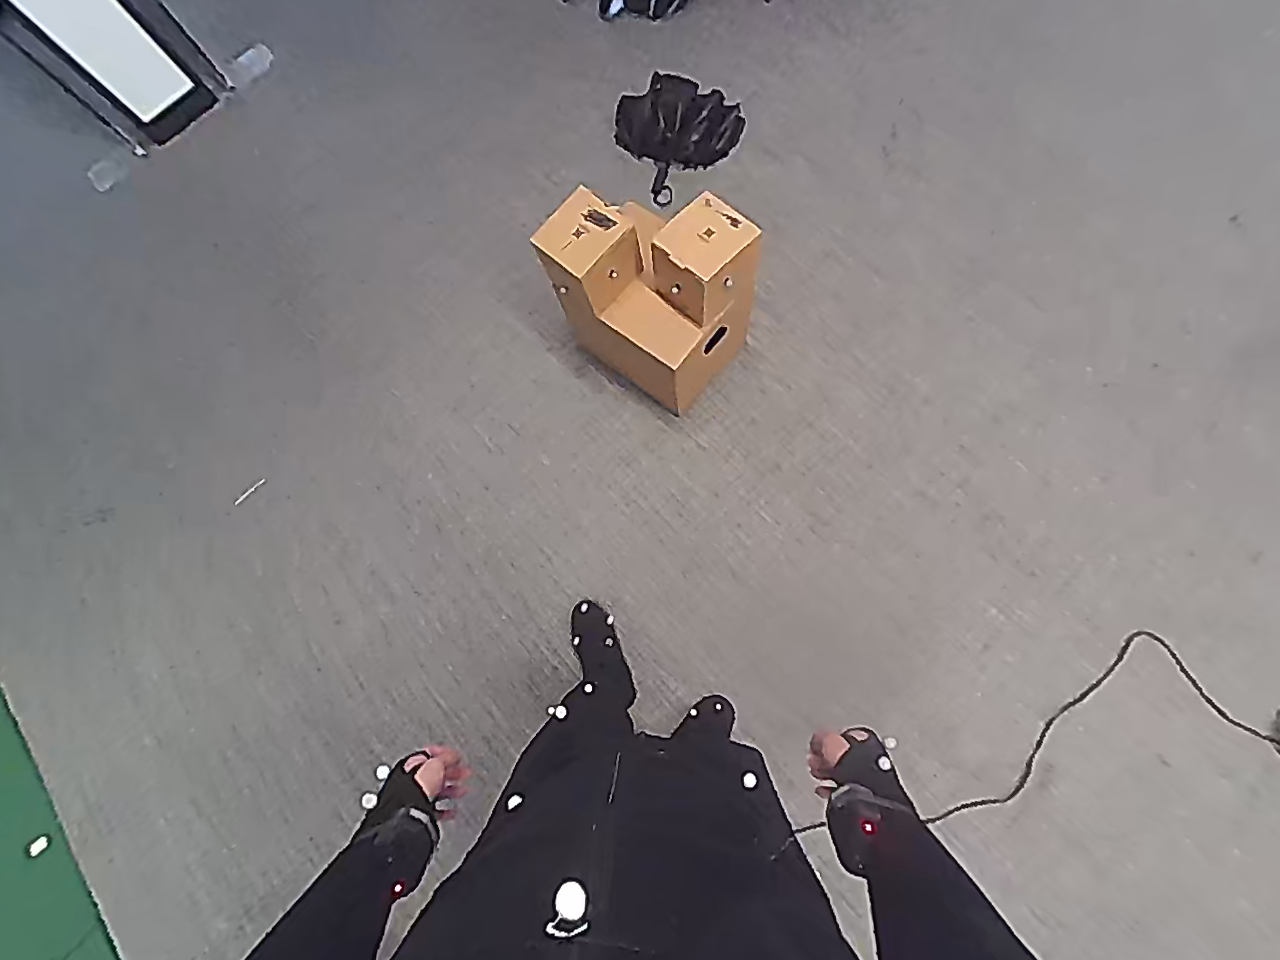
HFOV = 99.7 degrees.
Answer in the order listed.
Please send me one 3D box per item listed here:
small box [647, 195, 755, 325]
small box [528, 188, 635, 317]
[{"bbox_3d":[0.138,-0.489,1.226,0.179,0.176,0.168,-44,75,-9],"label":"small box"},{"bbox_3d":[-0.125,-0.522,1.260,0.168,0.176,0.179,42,85,15],"label":"small box"}]
